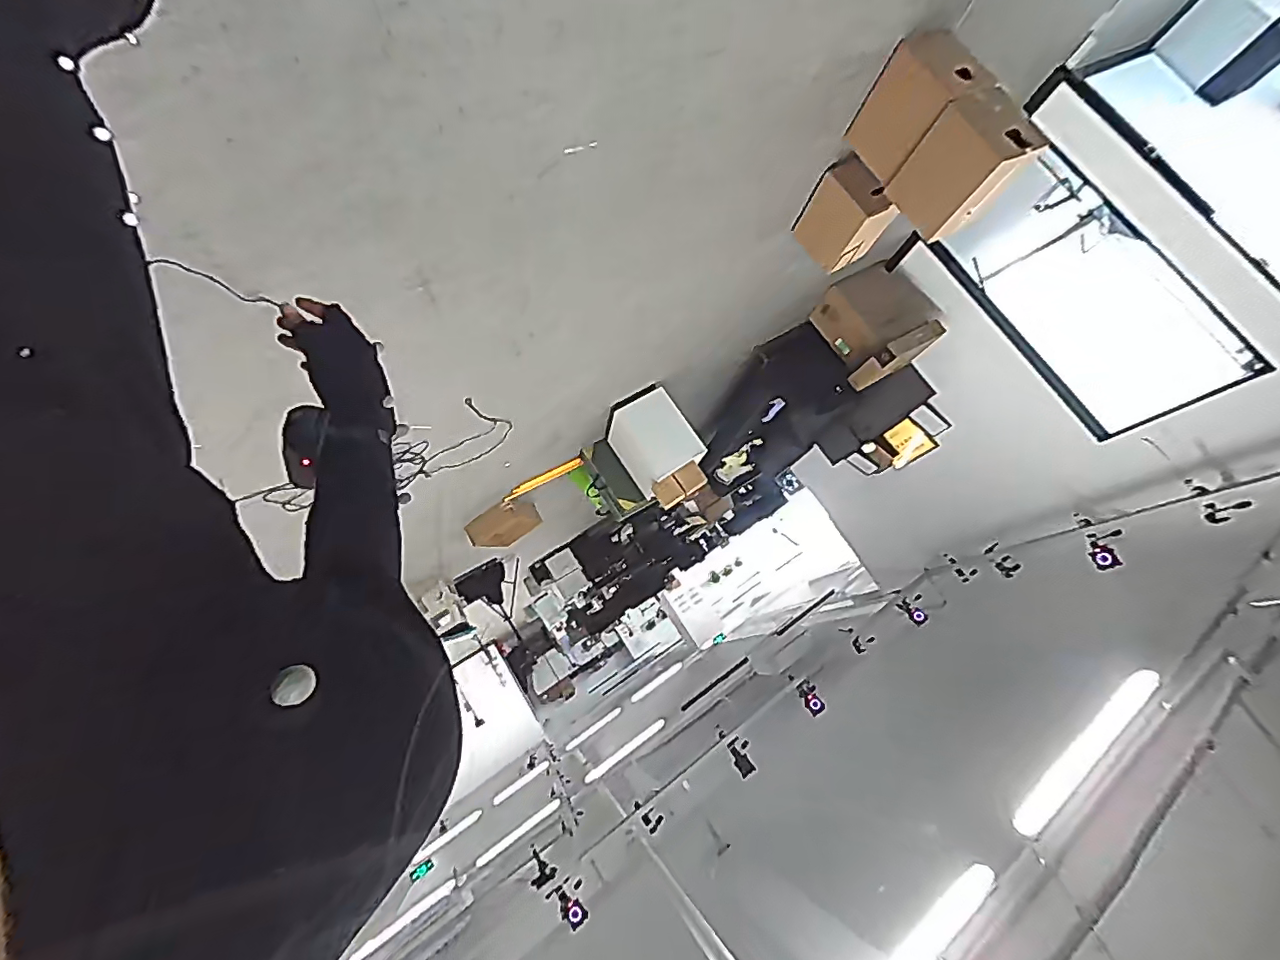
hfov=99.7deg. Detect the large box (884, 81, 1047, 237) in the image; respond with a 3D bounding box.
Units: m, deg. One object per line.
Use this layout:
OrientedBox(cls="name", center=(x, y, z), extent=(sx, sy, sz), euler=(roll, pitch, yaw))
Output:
OrientedBox(cls="large box", center=(1.287, -1.282, 2.176), extent=(0.320, 0.320, 0.408), euler=(-28, 169, -20))
